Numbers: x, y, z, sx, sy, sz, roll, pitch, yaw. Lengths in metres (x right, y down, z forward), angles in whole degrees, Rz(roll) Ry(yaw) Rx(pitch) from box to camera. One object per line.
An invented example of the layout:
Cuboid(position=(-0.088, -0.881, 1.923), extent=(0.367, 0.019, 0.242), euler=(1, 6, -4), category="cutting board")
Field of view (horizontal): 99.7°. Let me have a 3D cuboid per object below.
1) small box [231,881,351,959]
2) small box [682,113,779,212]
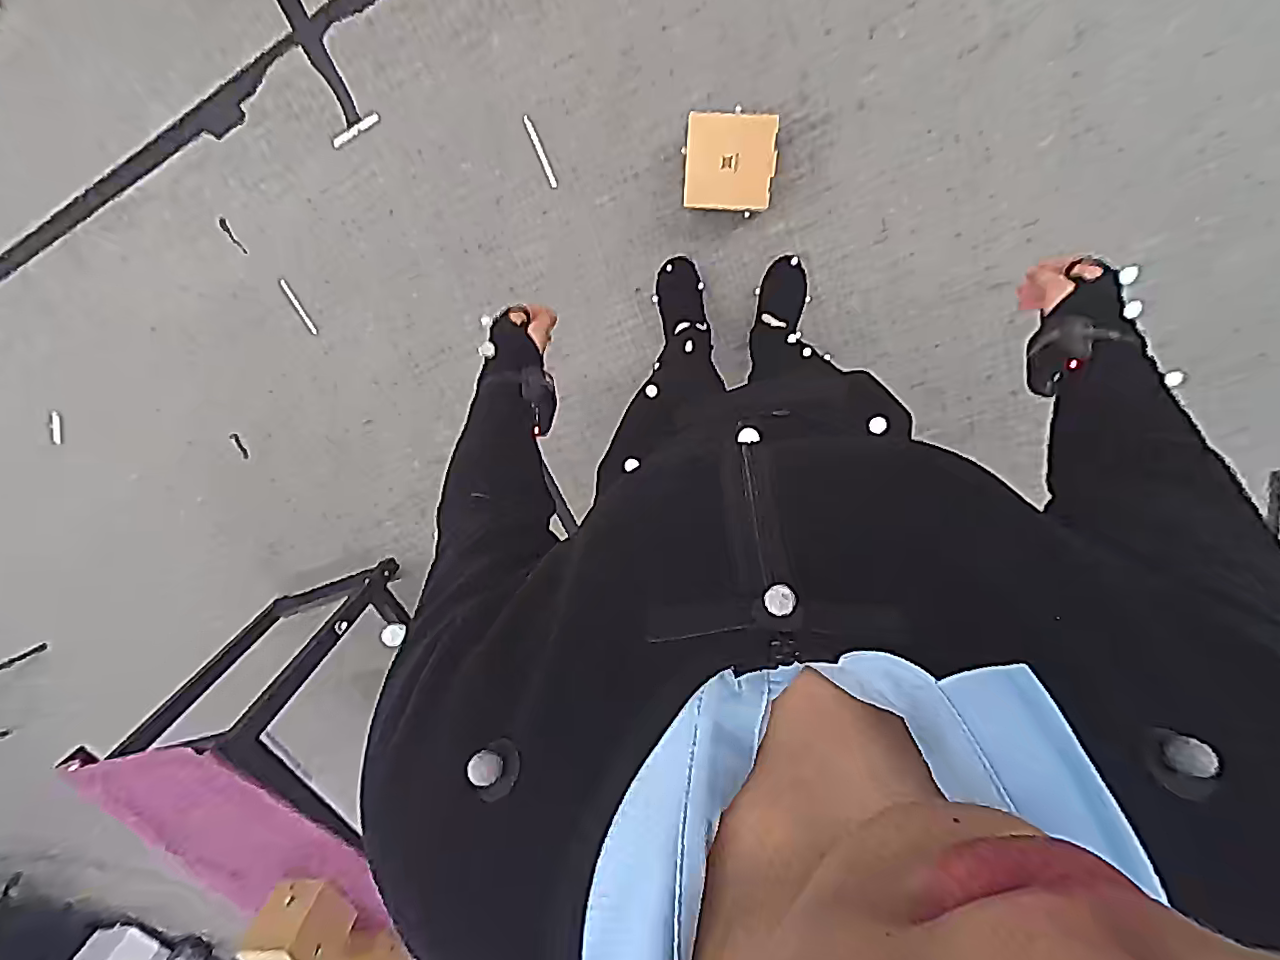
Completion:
Cuboid(position=(-0.918, 1.209, 1.441), extent=(0.168, 0.176, 0.179), euler=(-11, 115, 13), category="small box")
Cuboid(position=(0.186, -0.663, 1.142), extent=(0.179, 0.176, 0.168), euler=(5, 118, 5), category="small box")
